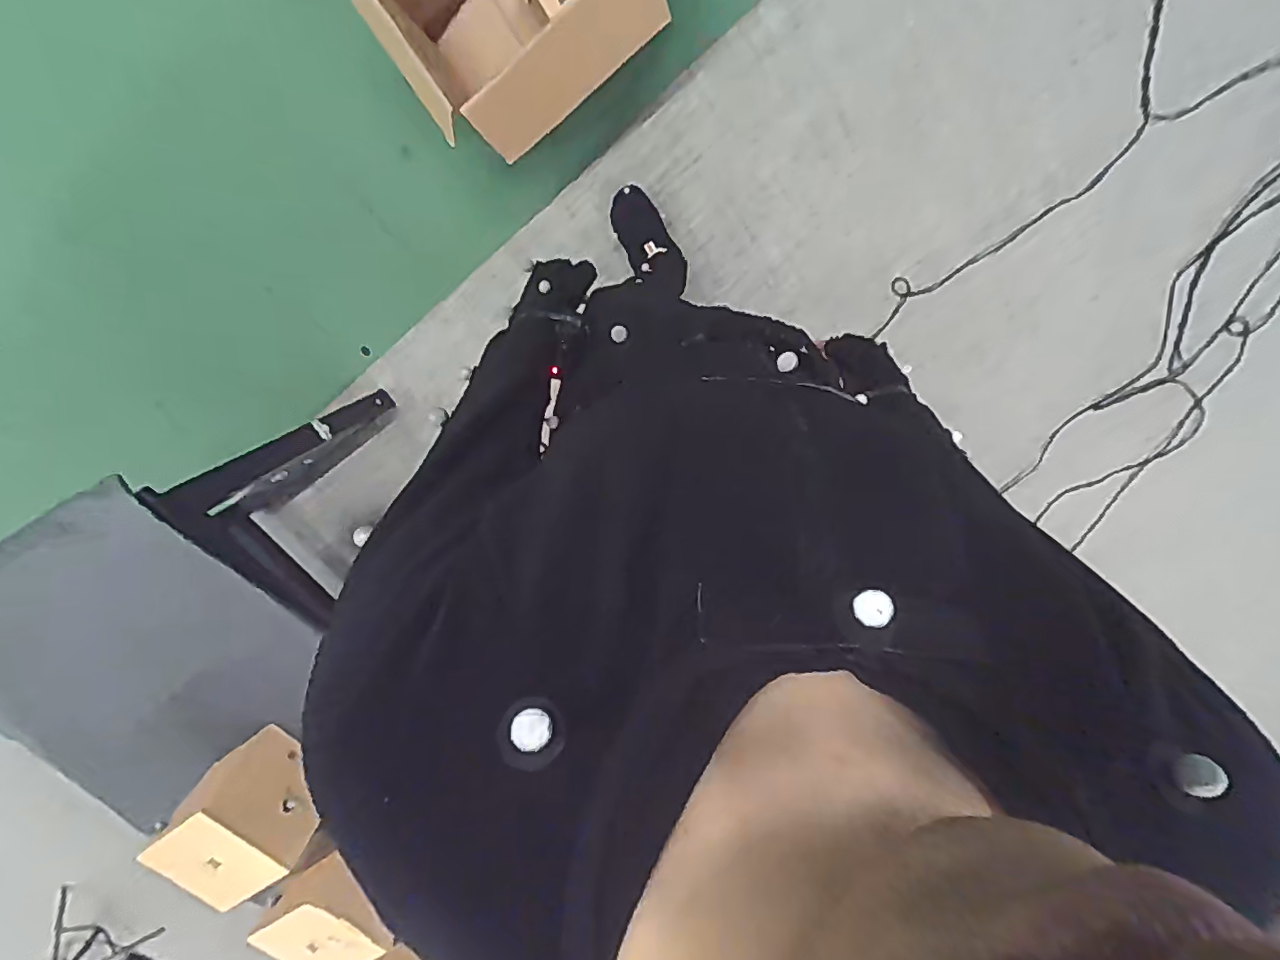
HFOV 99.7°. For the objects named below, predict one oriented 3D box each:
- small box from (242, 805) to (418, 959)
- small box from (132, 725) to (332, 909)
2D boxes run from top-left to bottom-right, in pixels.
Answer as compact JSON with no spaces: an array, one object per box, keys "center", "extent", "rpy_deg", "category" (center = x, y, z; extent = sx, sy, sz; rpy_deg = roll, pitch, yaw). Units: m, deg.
[{"center":[-0.532,0.723,0.955],"extent":[0.179,0.176,0.168],"rpy_deg":[-37,107,15],"category":"small box"},{"center":[-0.647,0.543,0.887],"extent":[0.179,0.176,0.168],"rpy_deg":[-36,107,15],"category":"small box"}]
